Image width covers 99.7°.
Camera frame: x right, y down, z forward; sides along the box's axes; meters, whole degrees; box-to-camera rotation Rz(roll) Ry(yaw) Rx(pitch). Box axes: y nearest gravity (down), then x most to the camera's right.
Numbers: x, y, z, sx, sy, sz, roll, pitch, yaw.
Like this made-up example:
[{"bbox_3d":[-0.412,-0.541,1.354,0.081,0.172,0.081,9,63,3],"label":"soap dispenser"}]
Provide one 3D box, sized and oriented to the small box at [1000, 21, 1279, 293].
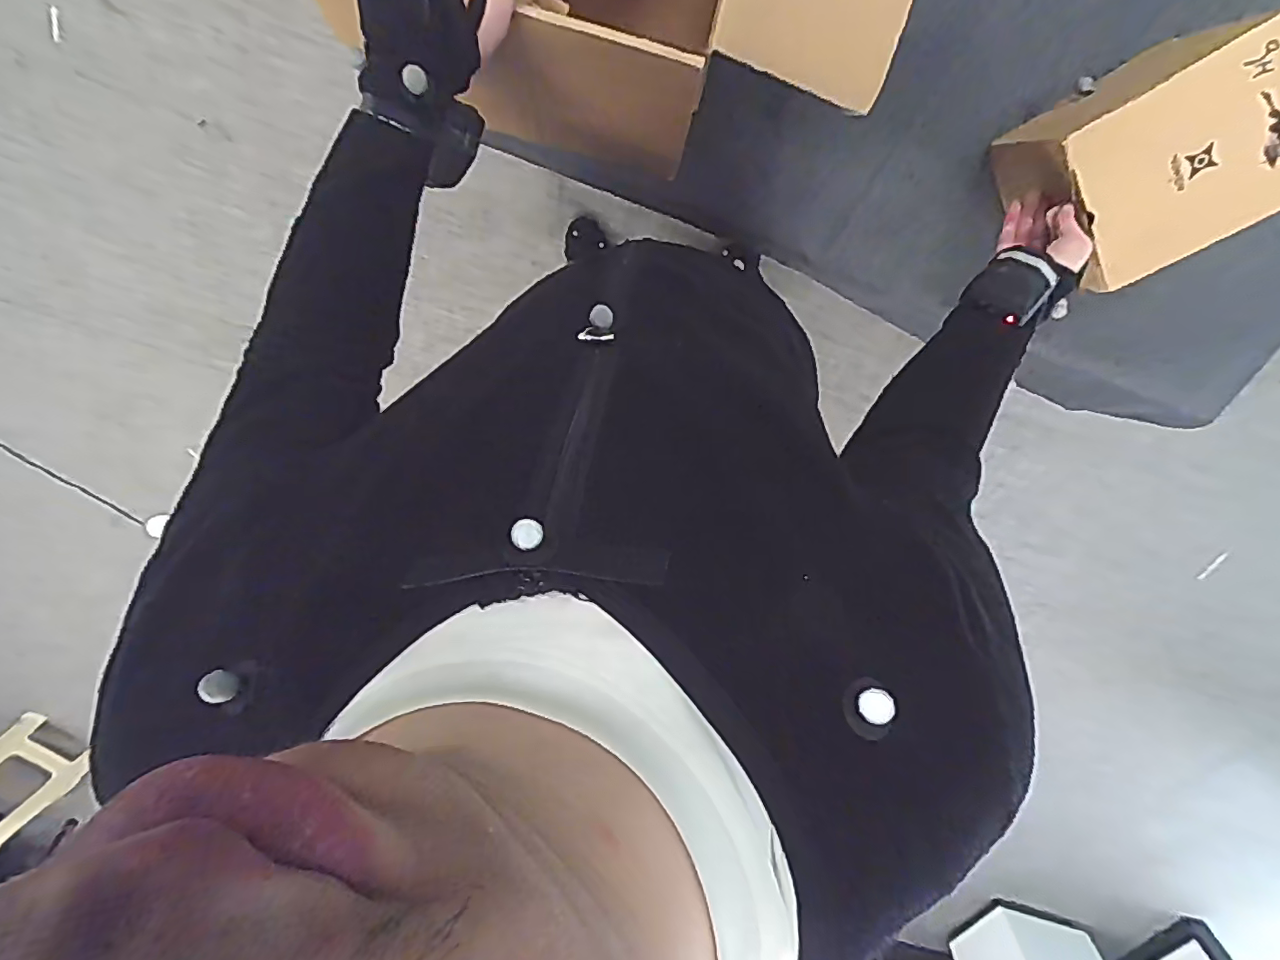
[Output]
[{"bbox_3d":[0.523,-0.329,0.582,0.179,0.176,0.168,-26,112,20],"label":"small box"}]
